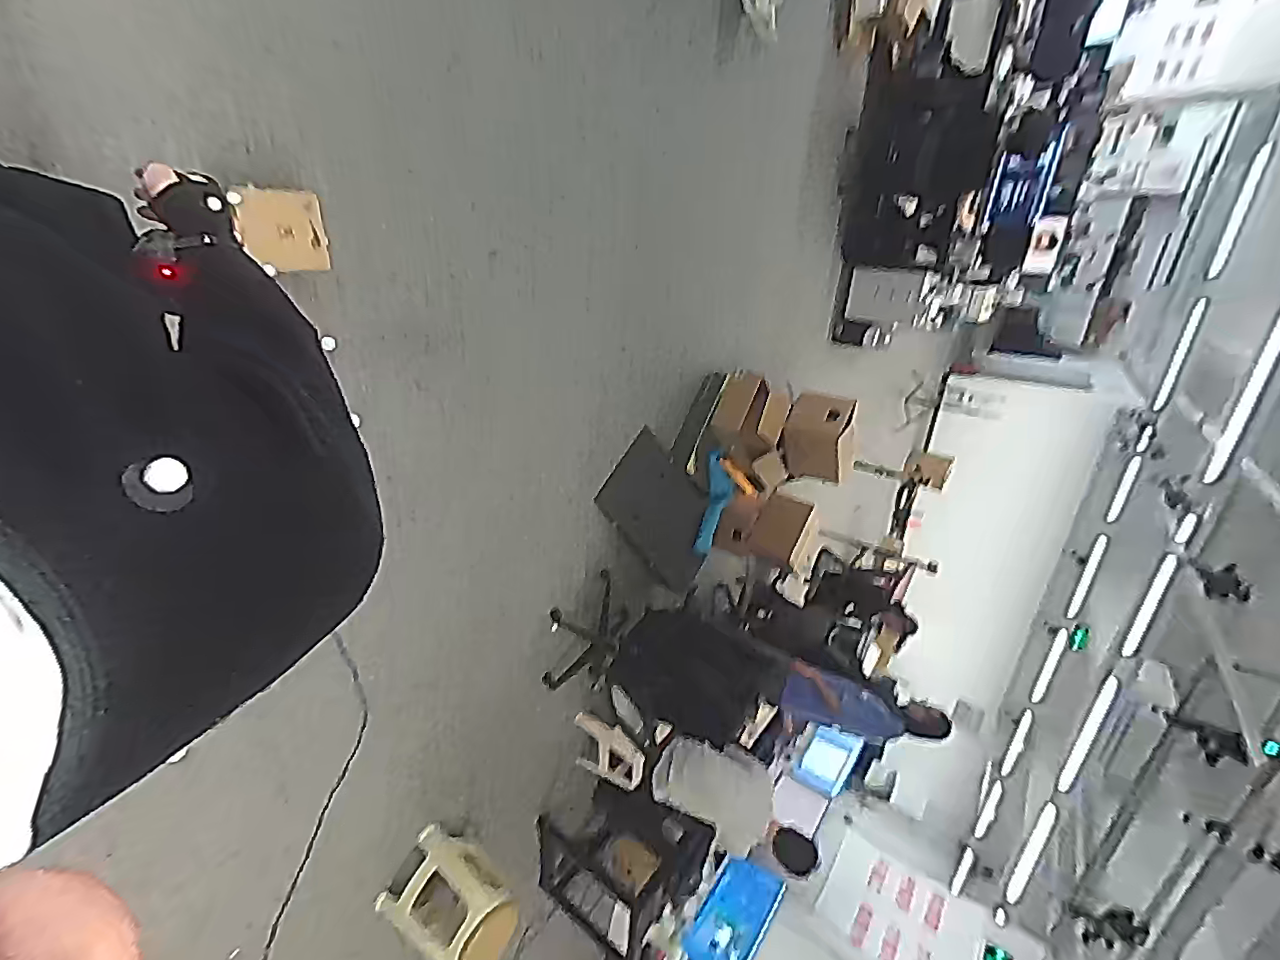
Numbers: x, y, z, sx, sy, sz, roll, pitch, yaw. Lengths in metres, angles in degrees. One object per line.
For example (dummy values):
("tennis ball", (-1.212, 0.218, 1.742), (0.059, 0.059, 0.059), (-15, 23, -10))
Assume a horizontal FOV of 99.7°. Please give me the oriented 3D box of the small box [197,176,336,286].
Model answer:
("small box", (-0.860, -0.567, 1.246), (0.168, 0.176, 0.179), (-55, 141, -27))
